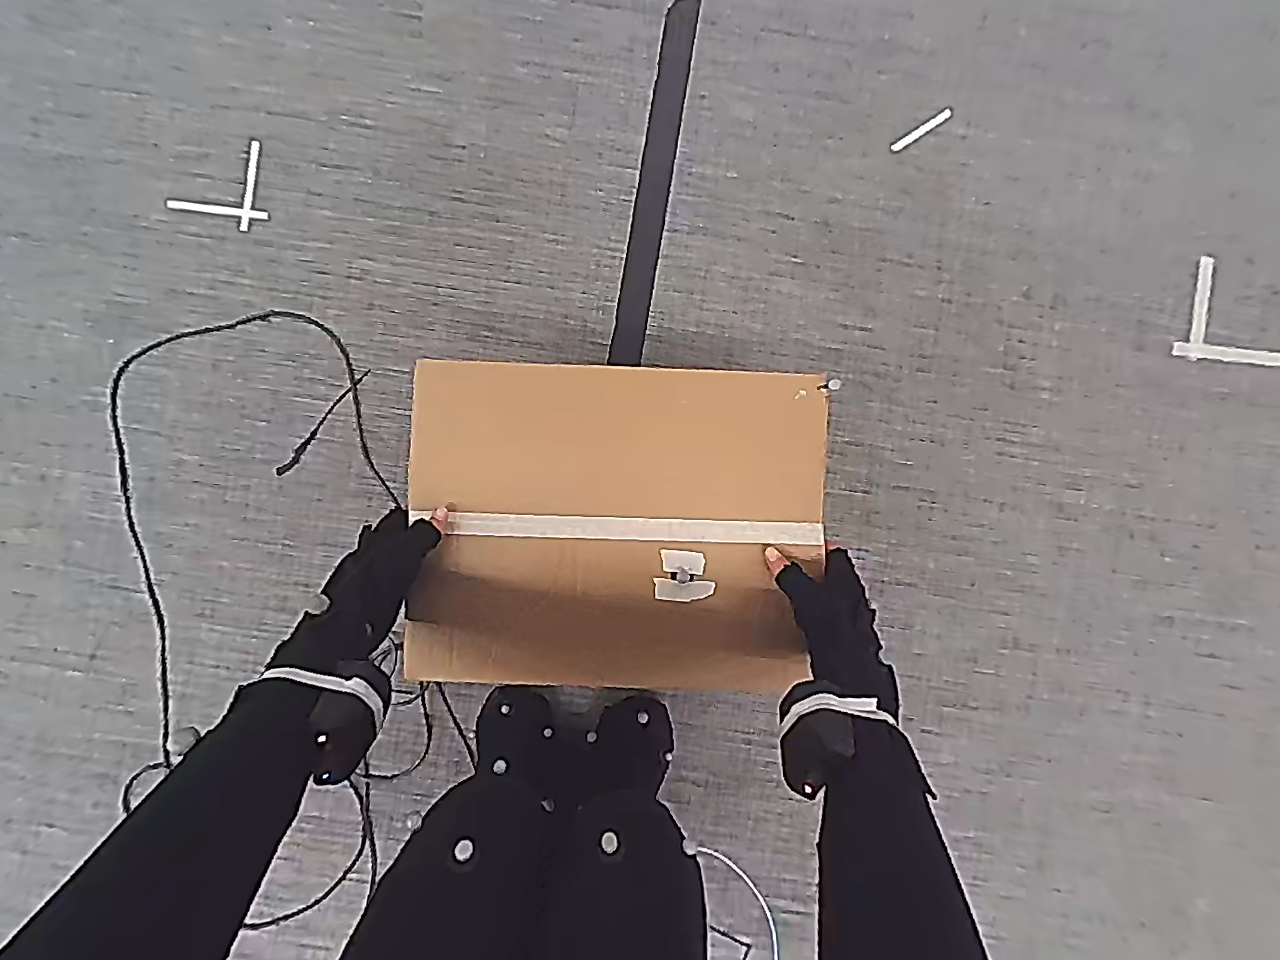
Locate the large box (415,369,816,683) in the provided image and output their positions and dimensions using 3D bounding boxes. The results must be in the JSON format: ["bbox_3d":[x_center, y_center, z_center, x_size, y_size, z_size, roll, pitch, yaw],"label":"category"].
[{"bbox_3d":[-0.026,0.051,0.690,0.408,0.320,0.320,2,89,-1],"label":"large box"}]
